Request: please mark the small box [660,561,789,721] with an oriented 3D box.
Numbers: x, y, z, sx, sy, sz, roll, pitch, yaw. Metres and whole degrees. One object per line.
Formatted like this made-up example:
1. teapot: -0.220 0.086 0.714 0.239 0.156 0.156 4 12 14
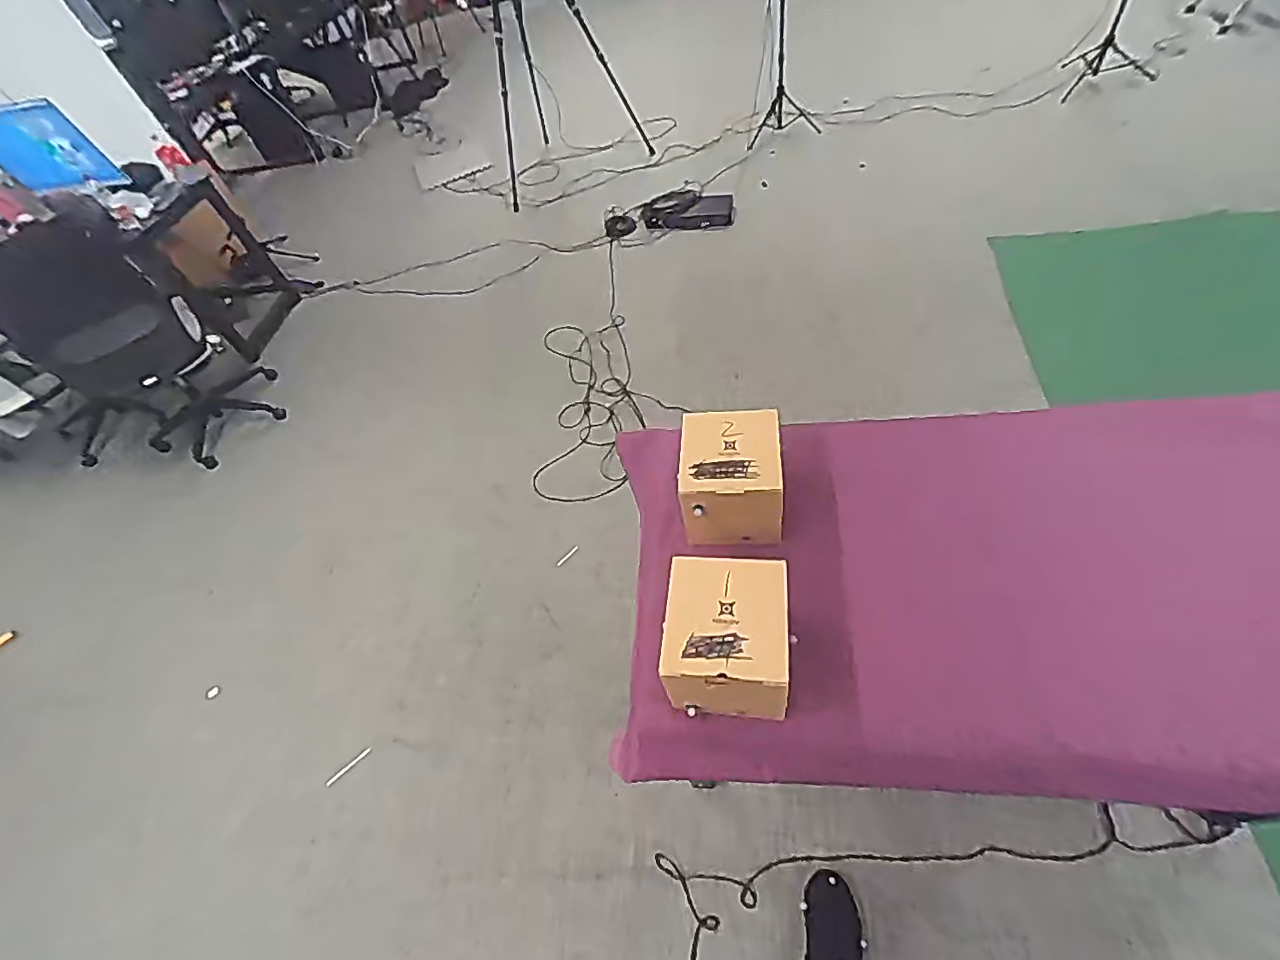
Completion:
1. small box: 0.132 0.237 0.790 0.168 0.176 0.179 1 52 13
